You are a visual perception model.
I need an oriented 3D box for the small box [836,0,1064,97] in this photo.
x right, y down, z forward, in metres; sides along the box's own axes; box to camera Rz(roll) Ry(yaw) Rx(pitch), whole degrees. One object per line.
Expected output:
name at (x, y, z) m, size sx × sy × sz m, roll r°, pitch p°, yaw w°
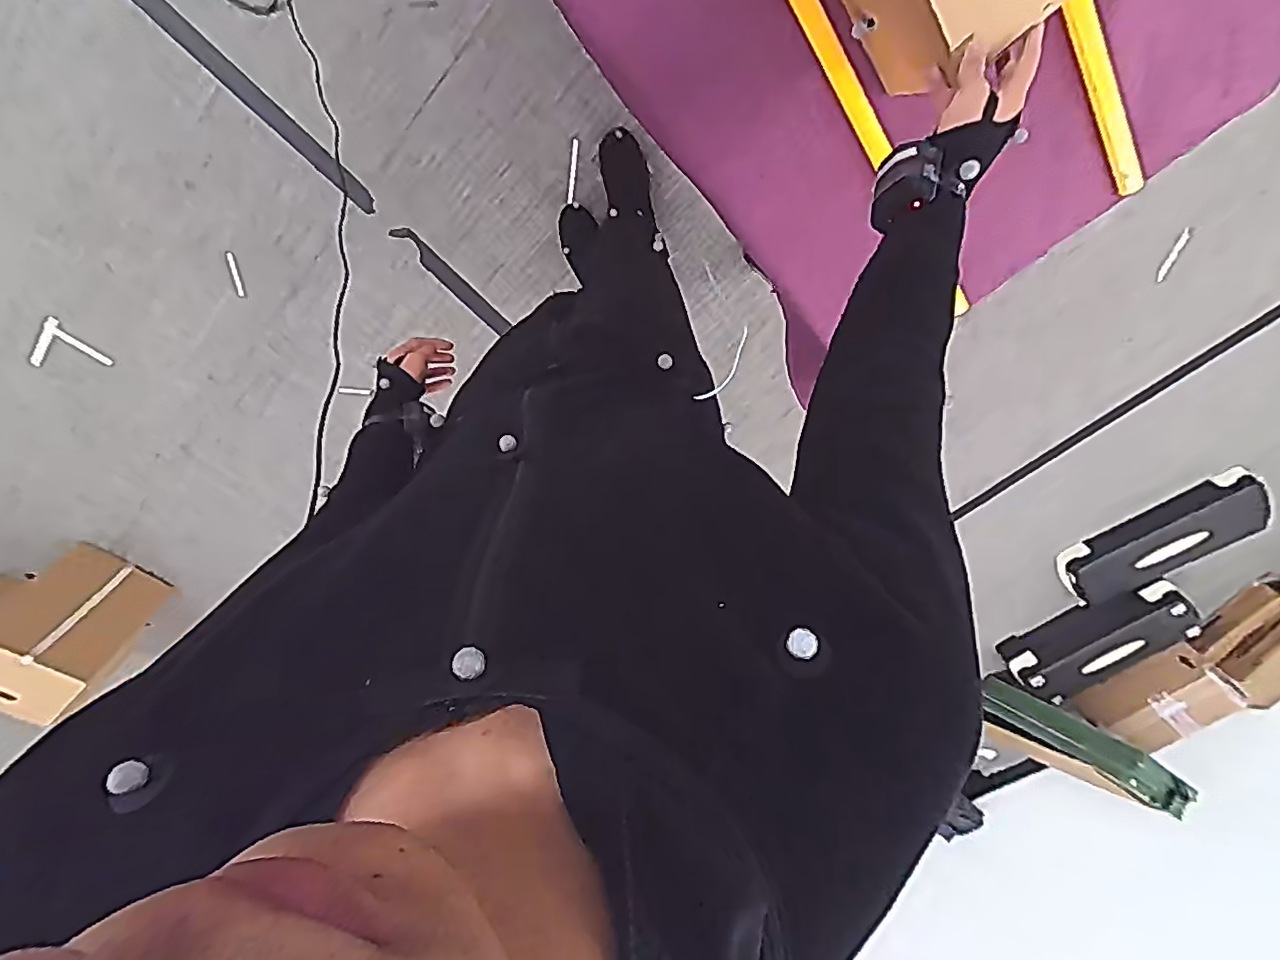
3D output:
small box at (0.306, -0.520, 0.530) m, size 0.168 × 0.176 × 0.179 m, roll -37°, pitch 119°, yaw 20°
